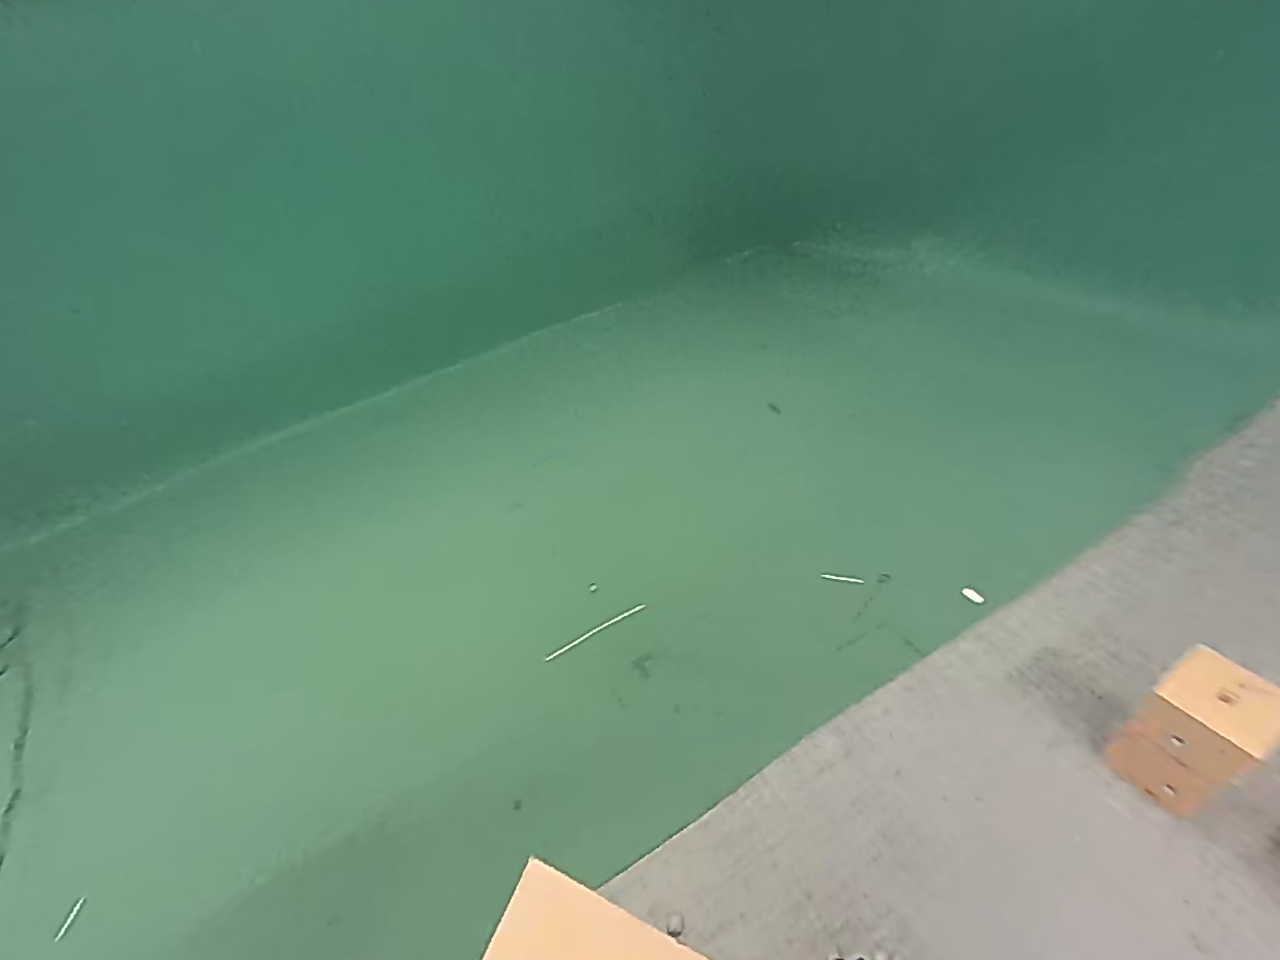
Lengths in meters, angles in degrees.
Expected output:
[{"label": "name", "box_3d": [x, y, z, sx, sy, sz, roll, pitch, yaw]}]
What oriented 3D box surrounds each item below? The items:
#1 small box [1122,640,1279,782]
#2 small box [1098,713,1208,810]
[{"label": "small box", "box_3d": [1.135, 0.470, 1.098, 0.179, 0.176, 0.168, -29, 43, -16]}, {"label": "small box", "box_3d": [1.171, 0.591, 1.203, 0.179, 0.176, 0.168, -28, 42, -15]}]
